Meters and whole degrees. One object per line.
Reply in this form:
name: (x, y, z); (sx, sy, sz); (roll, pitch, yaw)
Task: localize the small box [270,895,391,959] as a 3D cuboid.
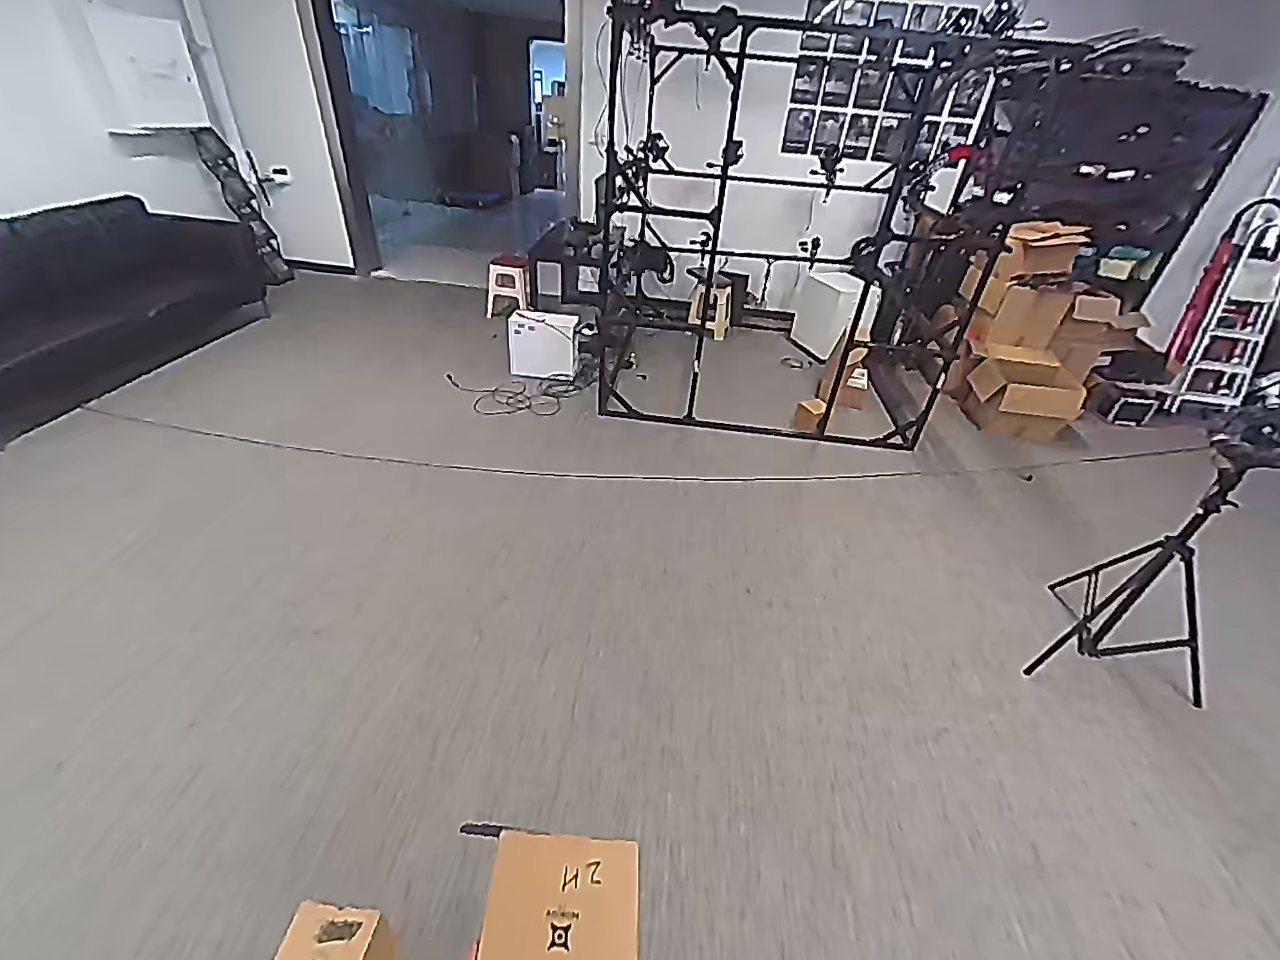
small box: (-0.610, 0.958, 1.059); (0.168, 0.176, 0.179); (6, 36, 3)

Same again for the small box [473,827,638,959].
small box: (-0.099, 0.533, 0.619); (0.168, 0.176, 0.179); (10, 37, -6)
